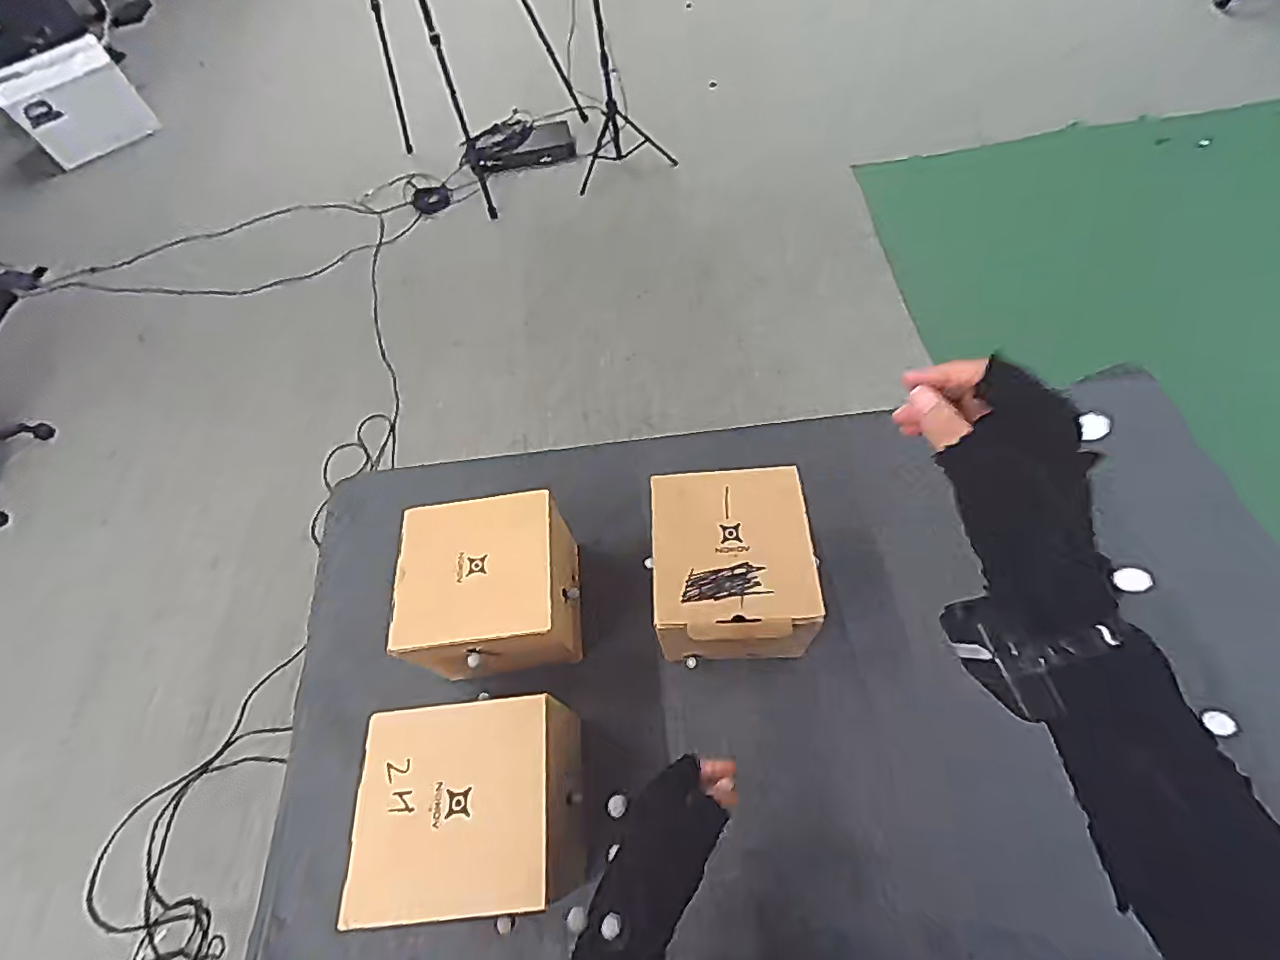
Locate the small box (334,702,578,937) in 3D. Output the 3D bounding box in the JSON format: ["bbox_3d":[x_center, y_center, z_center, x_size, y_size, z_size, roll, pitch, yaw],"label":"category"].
[{"bbox_3d":[-0.159,0.328,0.539,0.179,0.176,0.168,-8,58,3],"label":"small box"}]

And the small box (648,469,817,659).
[{"bbox_3d":[0.100,0.107,0.633,0.168,0.176,0.179,-4,59,5],"label":"small box"}]
